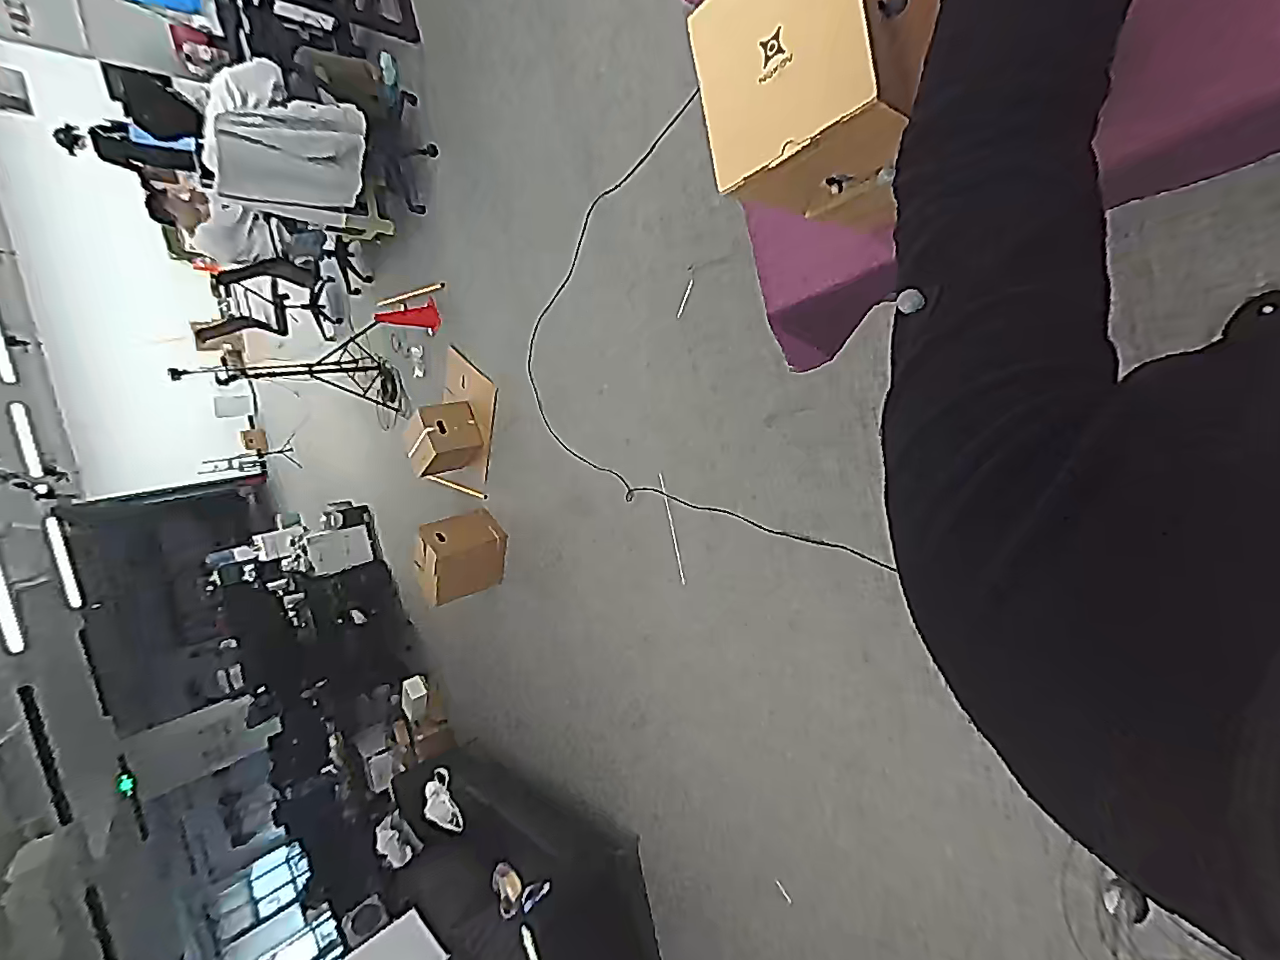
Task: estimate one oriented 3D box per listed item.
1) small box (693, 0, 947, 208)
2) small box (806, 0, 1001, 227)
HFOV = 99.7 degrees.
[{"bbox_3d":[0.182,-0.400,0.541,0.168,0.176,0.179,-6,98,49],"label":"small box"},{"bbox_3d":[0.306,-0.424,0.644,0.179,0.176,0.168,-7,96,50],"label":"small box"}]
